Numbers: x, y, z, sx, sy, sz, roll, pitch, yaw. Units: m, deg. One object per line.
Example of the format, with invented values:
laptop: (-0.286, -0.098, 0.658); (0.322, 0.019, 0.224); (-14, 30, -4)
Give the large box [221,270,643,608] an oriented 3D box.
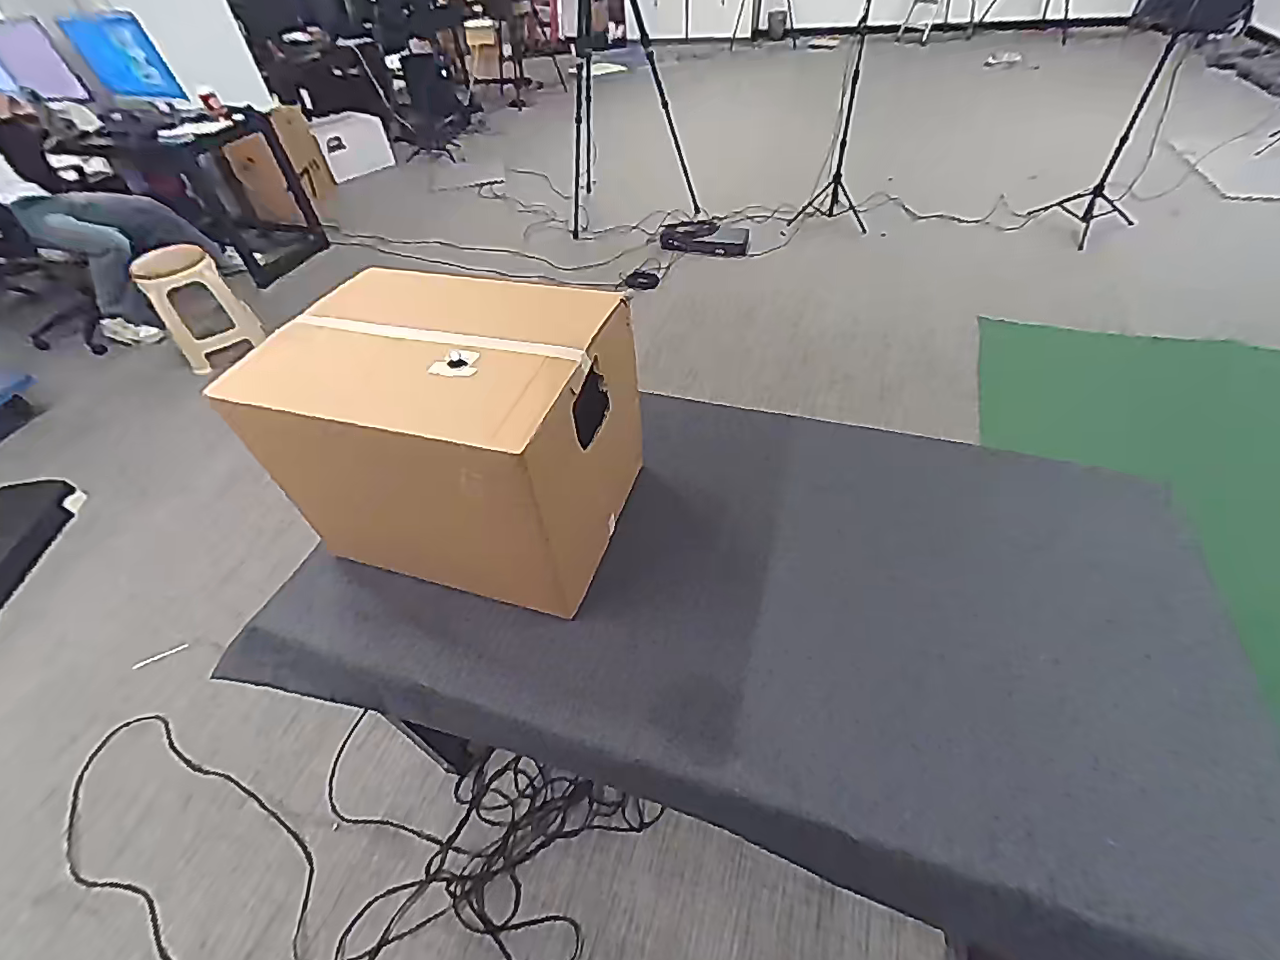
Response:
large box: (-0.233, -0.065, 0.762); (0.408, 0.320, 0.320); (11, 49, 13)
